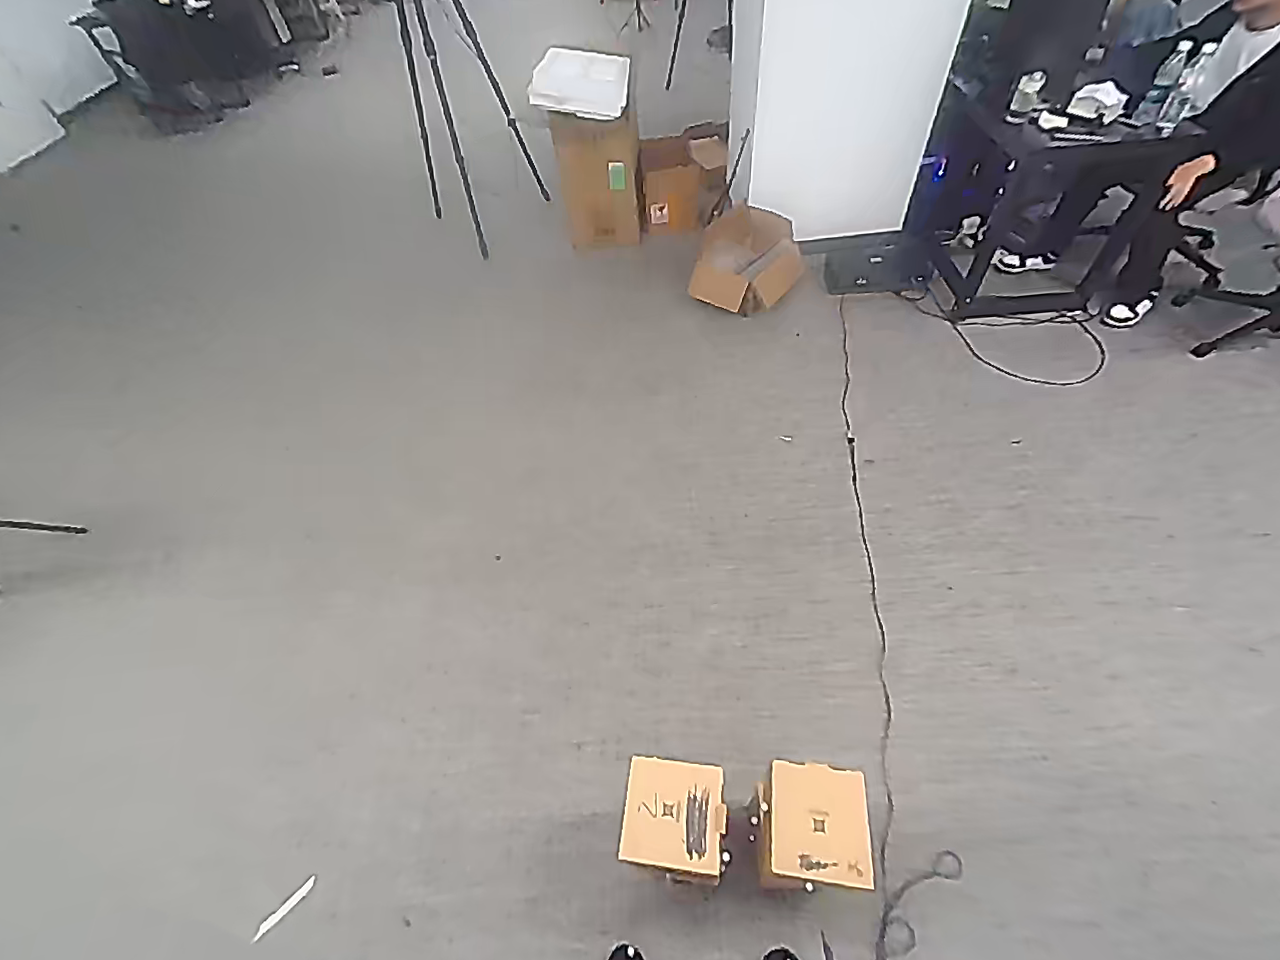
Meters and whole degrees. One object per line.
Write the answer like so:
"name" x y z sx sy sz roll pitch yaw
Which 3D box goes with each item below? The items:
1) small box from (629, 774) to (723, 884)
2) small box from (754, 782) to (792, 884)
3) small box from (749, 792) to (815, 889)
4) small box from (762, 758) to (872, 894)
"small box" 0.082 0.744 1.151 0.179 0.176 0.168 4 53 10
"small box" 0.335 0.742 1.132 0.179 0.176 0.168 -2 52 6
"small box" 0.348 0.840 1.259 0.168 0.176 0.179 -3 52 5
"small box" 0.317 0.641 1.002 0.168 0.176 0.179 4 51 10
